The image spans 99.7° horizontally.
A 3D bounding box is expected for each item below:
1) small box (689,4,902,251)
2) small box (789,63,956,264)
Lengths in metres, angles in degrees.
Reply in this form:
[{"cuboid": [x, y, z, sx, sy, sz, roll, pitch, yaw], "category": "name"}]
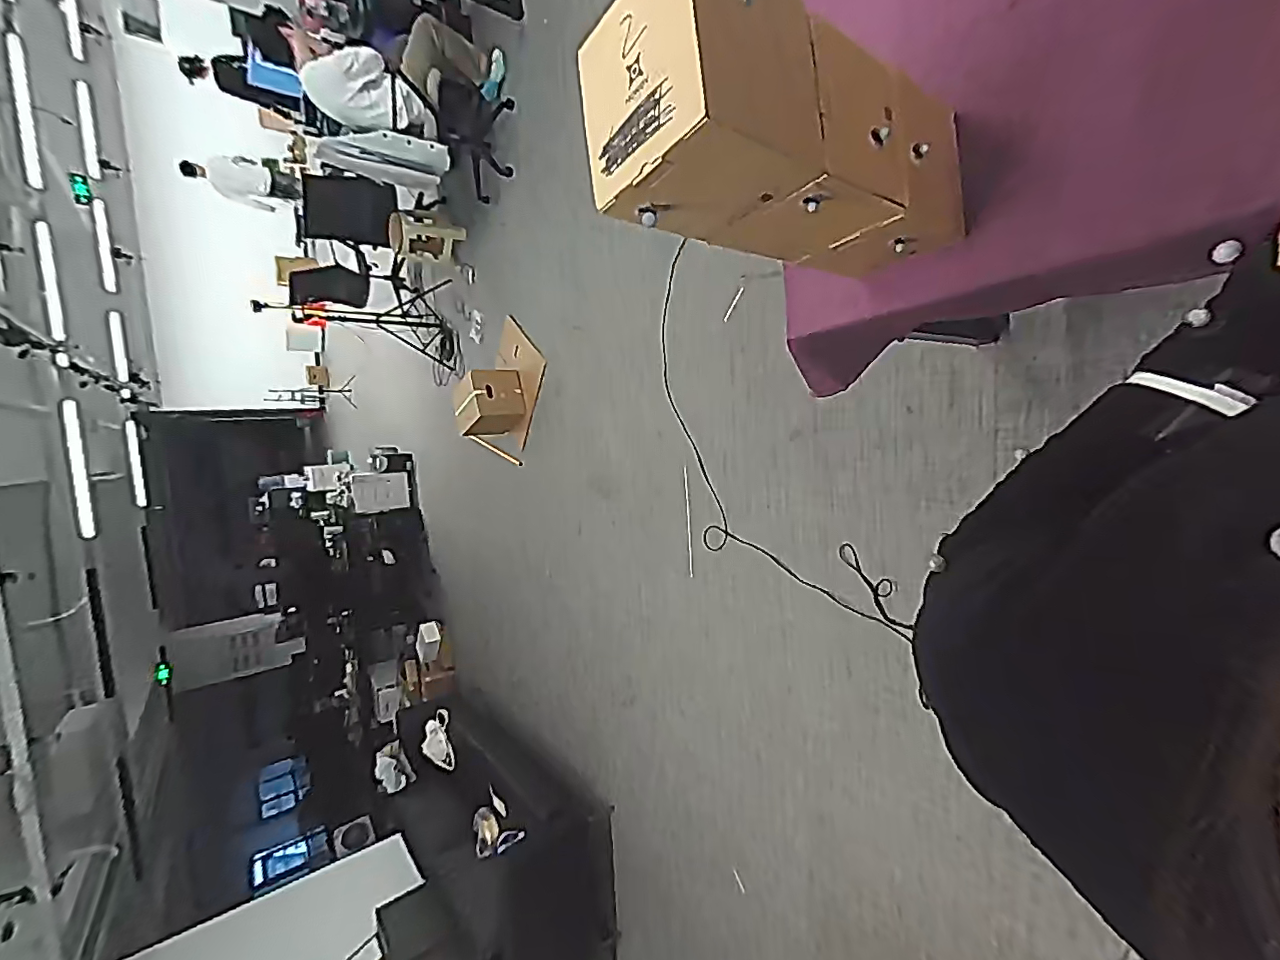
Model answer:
[{"cuboid": [0.186, -0.397, 0.654, 0.179, 0.176, 0.168, -6, 91, 51], "category": "small box"}, {"cuboid": [0.316, -0.413, 0.749, 0.168, 0.176, 0.179, -3, 93, 52], "category": "small box"}]
